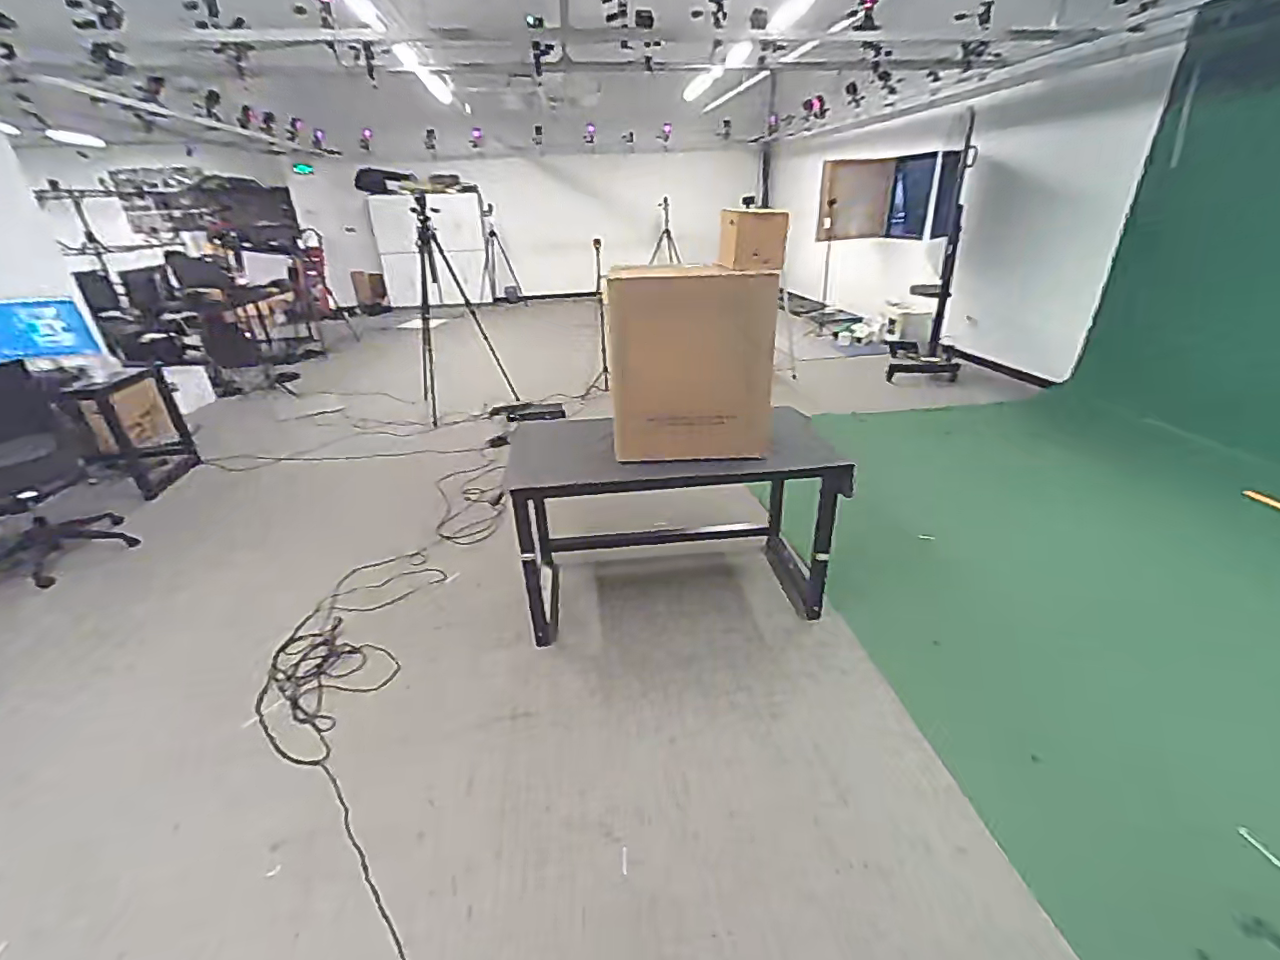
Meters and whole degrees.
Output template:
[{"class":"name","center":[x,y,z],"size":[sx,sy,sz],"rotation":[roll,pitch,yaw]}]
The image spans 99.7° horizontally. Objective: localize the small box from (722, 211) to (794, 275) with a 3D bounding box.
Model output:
[{"class":"small box","center":[0.364,-0.752,1.710],"size":[0.168,0.176,0.179],"rotation":[-3,29,-8]}]
